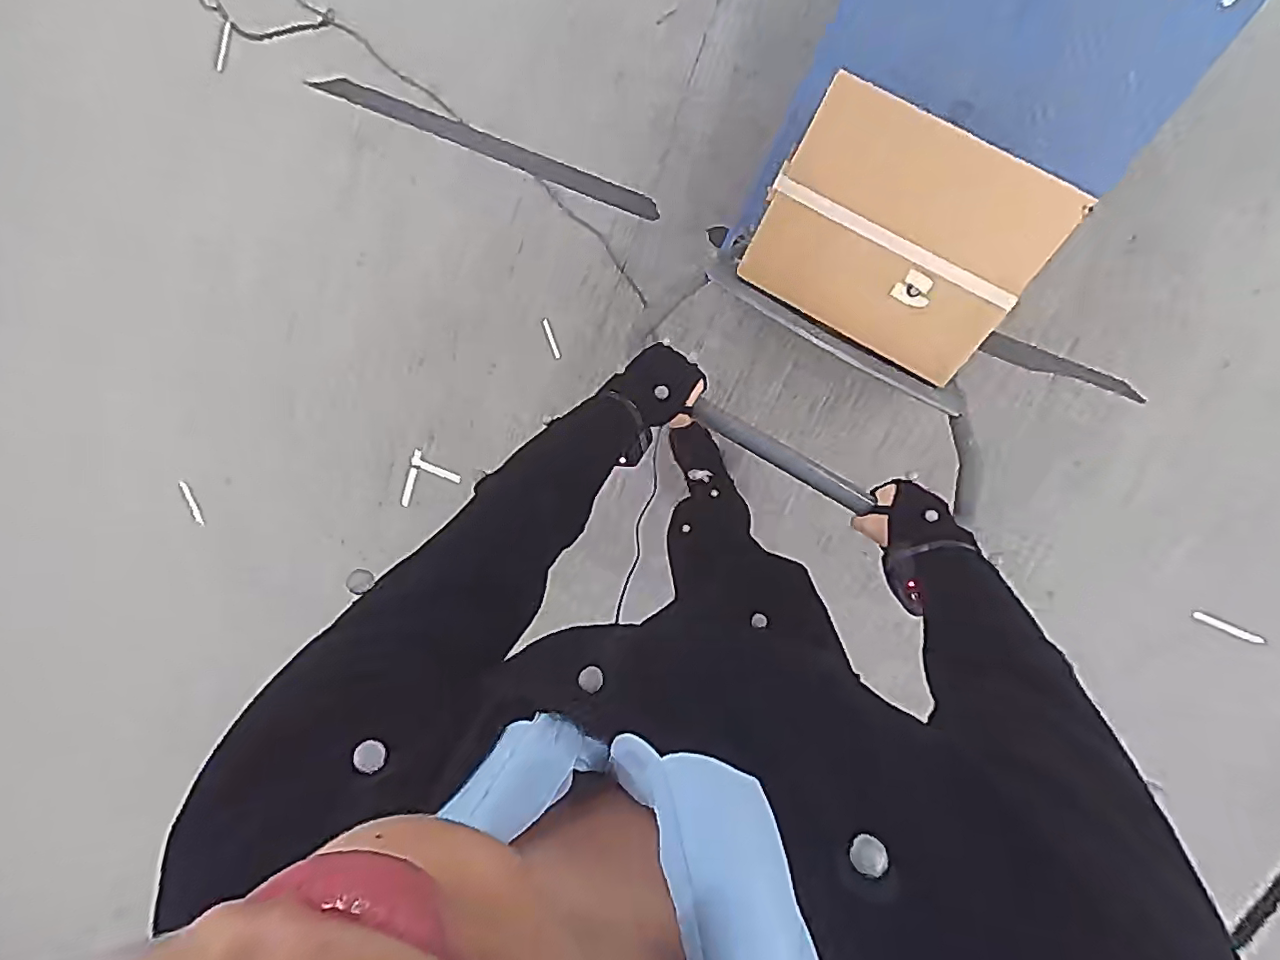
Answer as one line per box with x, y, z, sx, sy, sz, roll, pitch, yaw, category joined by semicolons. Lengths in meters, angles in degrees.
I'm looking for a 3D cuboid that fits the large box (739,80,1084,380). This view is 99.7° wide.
0.448;-0.446;0.984;0.408;0.320;0.320;31;124;4;large box
